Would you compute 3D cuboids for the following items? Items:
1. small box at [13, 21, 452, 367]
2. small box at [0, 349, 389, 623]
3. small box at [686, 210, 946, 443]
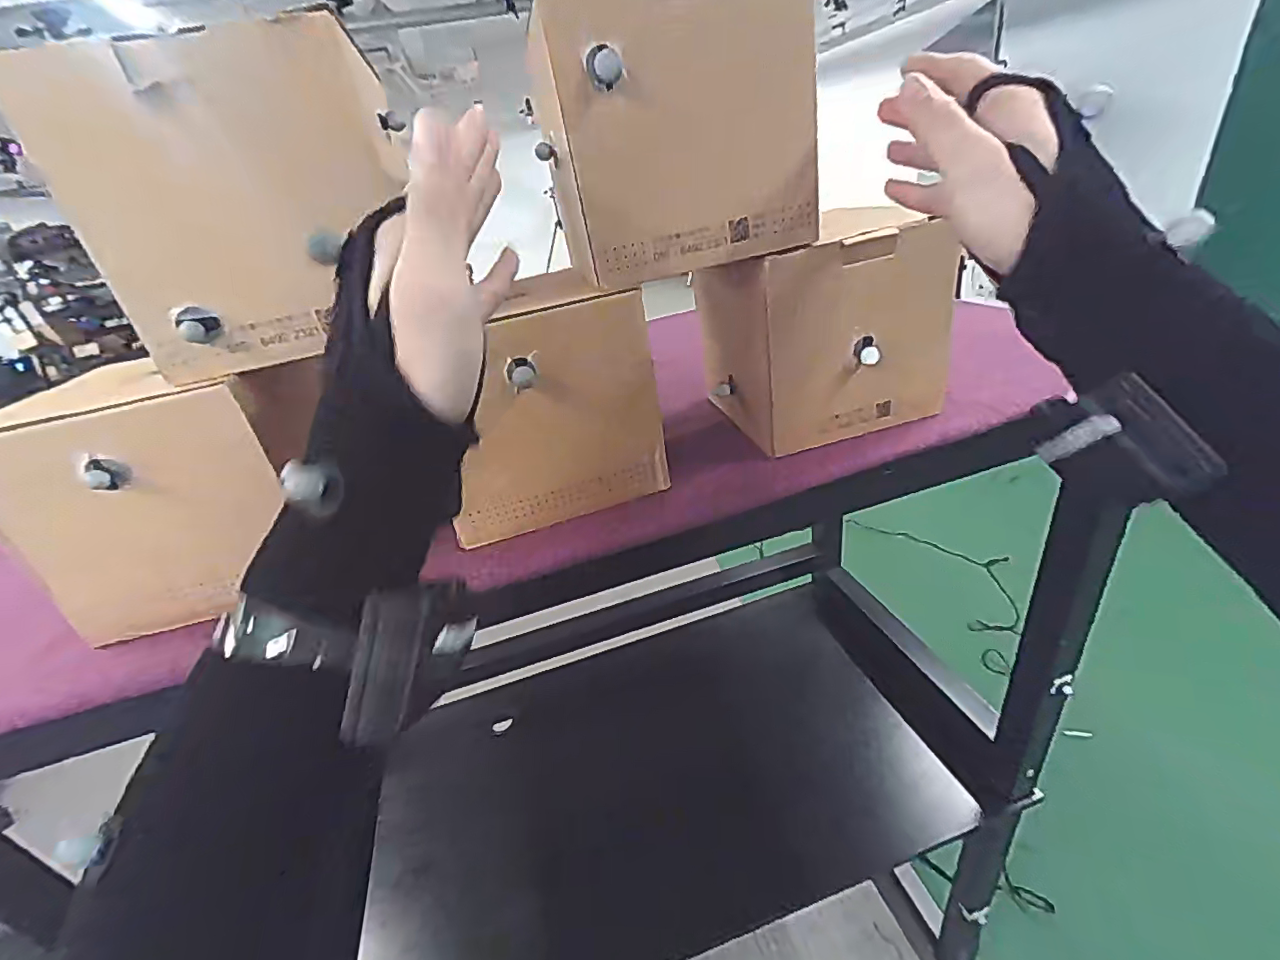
[{"bbox_3d":[-0.245,-0.190,0.391,0.168,0.176,0.179,-15,28,-9],"label":"small box"},{"bbox_3d":[-0.336,-0.010,0.439,0.179,0.176,0.168,-13,29,-6],"label":"small box"},{"bbox_3d":[0.156,-0.148,0.520,0.168,0.176,0.179,-15,30,-8],"label":"small box"}]
